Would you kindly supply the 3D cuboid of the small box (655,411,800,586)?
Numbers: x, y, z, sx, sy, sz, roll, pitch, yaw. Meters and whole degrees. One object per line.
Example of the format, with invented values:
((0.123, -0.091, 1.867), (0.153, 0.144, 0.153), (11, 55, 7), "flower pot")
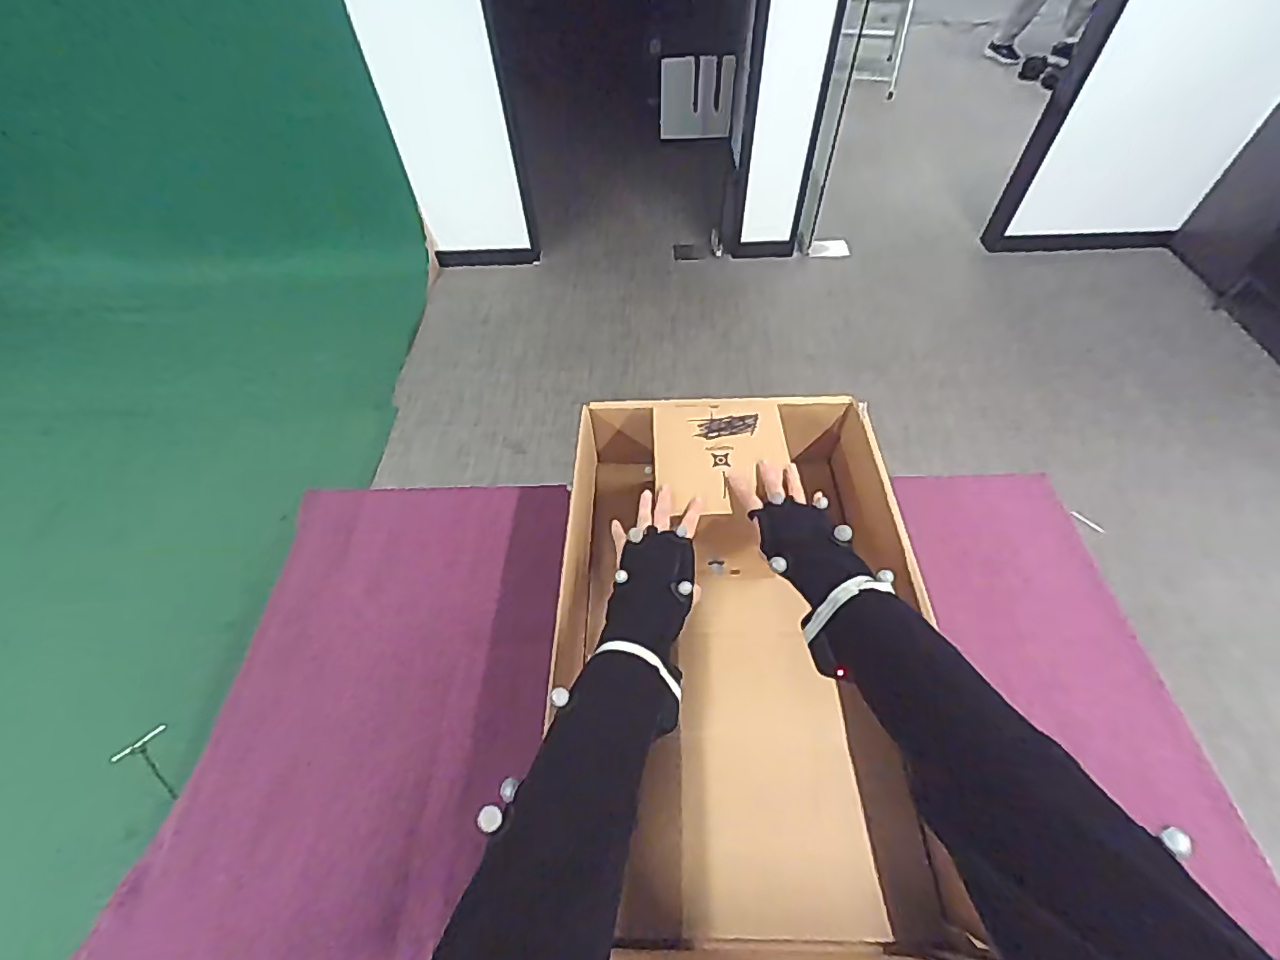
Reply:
((0.103, 0.027, 0.728), (0.168, 0.176, 0.179), (-2, 54, 2), "small box")
